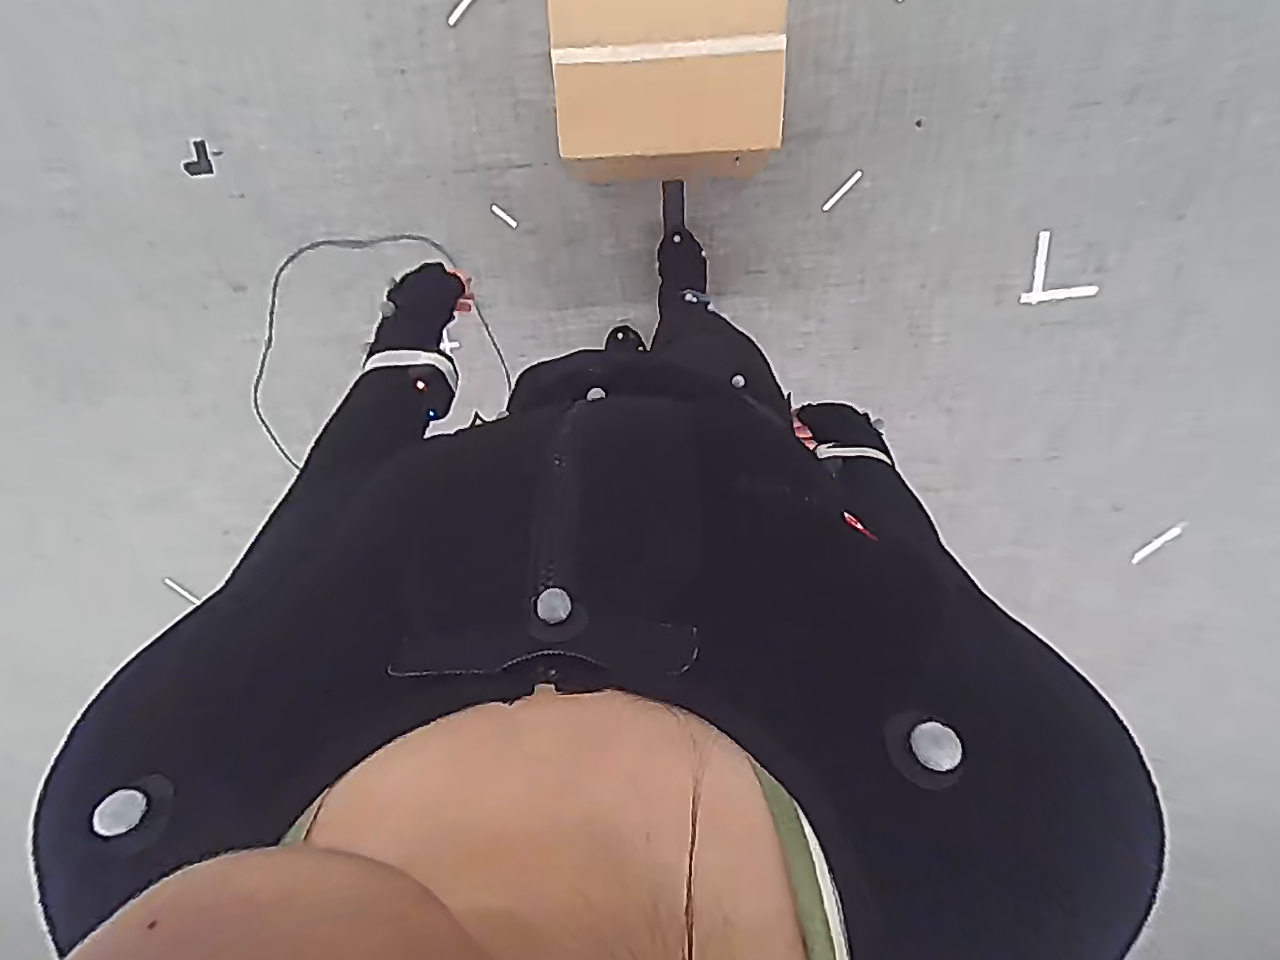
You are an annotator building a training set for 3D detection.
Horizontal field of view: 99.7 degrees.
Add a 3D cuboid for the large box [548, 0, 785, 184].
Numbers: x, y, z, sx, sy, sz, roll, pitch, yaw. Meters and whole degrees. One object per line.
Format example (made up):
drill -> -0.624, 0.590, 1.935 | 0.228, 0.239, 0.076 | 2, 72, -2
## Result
large box -> 0.055, -0.785, 1.069 | 0.408, 0.320, 0.320 | -1, 111, 3
